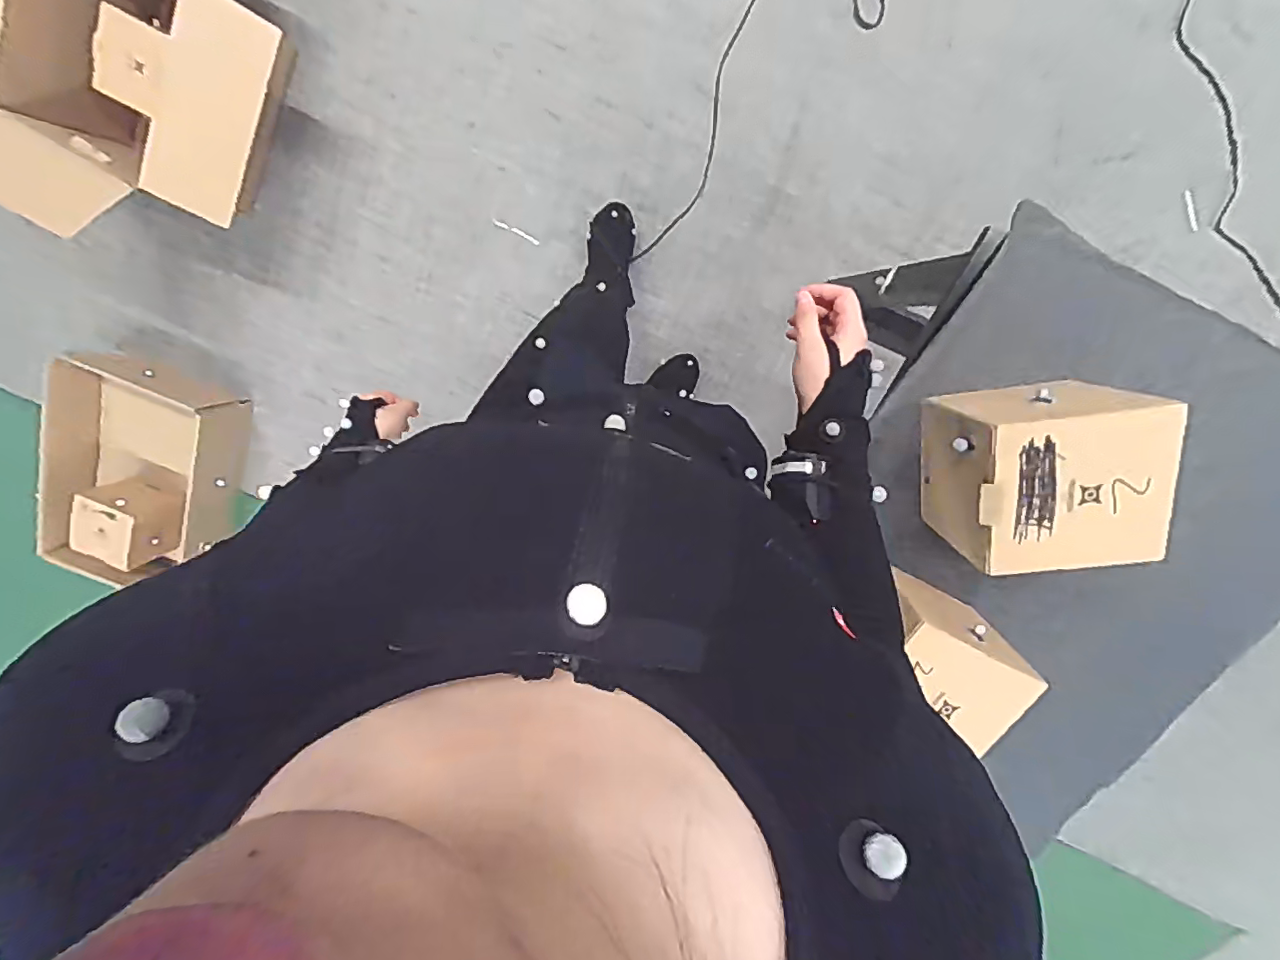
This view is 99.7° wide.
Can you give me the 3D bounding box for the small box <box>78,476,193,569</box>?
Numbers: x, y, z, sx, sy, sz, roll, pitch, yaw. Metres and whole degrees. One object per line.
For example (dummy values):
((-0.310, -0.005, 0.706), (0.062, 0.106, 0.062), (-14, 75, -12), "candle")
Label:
((-1.409, 0.113, 1.518), (0.168, 0.176, 0.179), (24, 107, -2), "small box")
